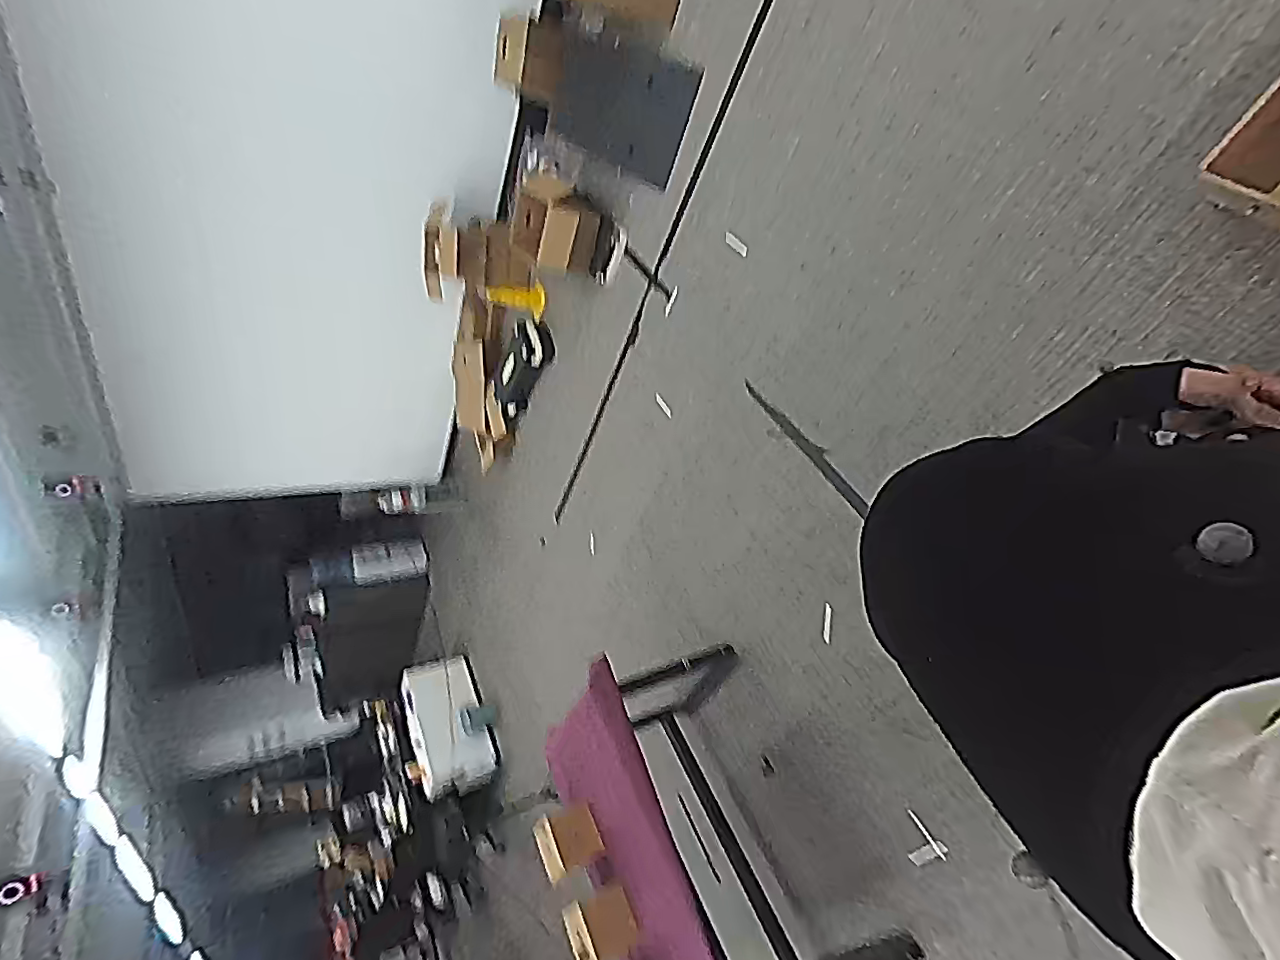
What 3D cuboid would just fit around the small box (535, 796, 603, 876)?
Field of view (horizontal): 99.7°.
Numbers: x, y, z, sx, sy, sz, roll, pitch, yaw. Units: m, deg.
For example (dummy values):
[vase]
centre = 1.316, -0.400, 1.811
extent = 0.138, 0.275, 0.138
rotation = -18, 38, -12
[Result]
[small box]
centre = -0.260, 1.313, 2.000
extent = 0.179, 0.176, 0.168
rotation = 57, 134, 32
